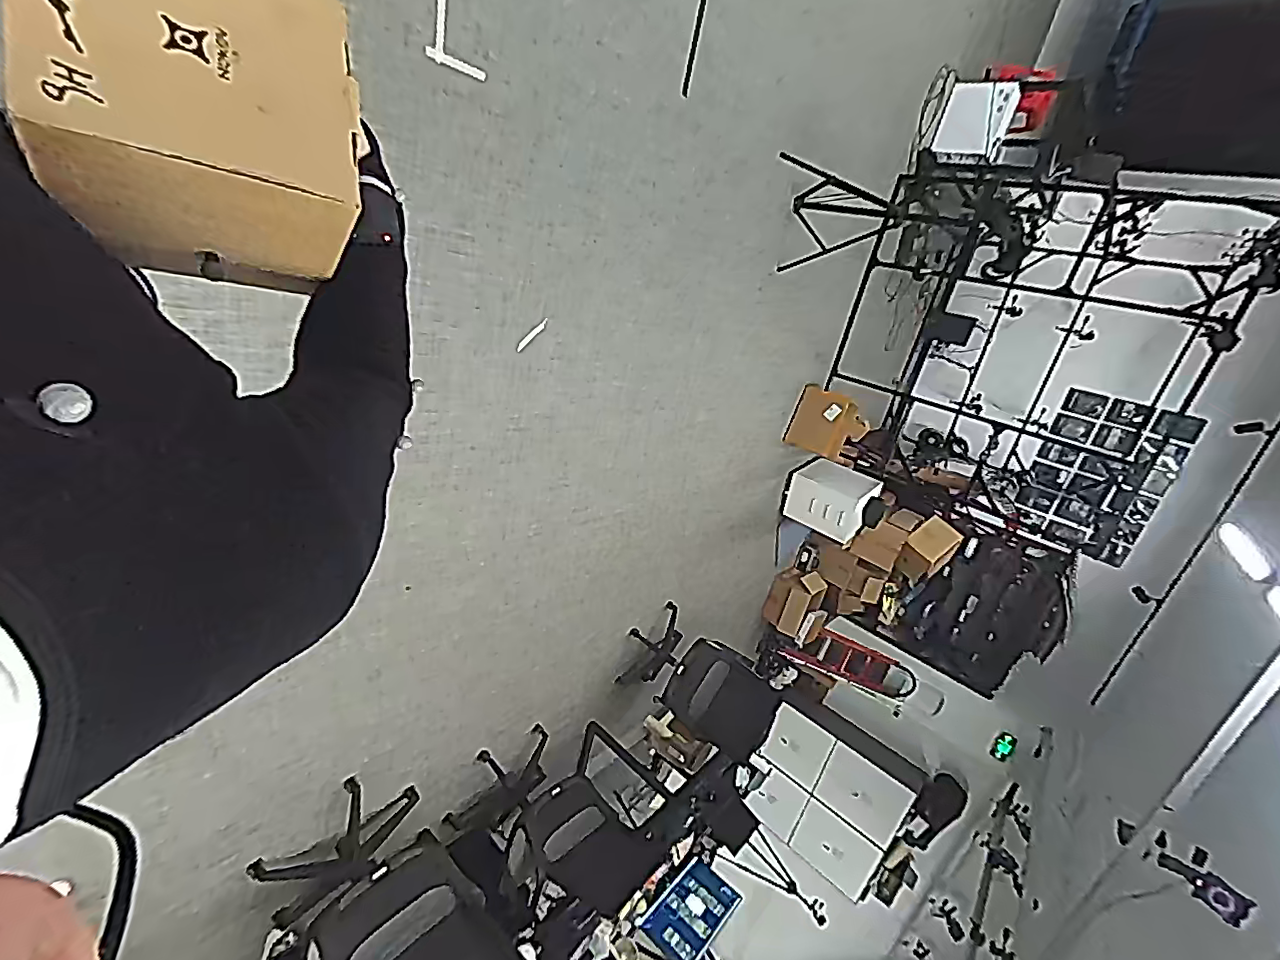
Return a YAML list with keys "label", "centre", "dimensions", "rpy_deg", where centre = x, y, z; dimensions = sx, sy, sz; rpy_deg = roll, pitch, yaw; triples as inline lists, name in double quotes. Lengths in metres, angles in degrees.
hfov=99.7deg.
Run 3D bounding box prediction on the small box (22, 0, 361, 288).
- label: "small box"
  centre: [-0.339, -0.272, 0.426]
  dimensions: [0.179, 0.176, 0.168]
  rpy_deg: [-2, 82, -40]
